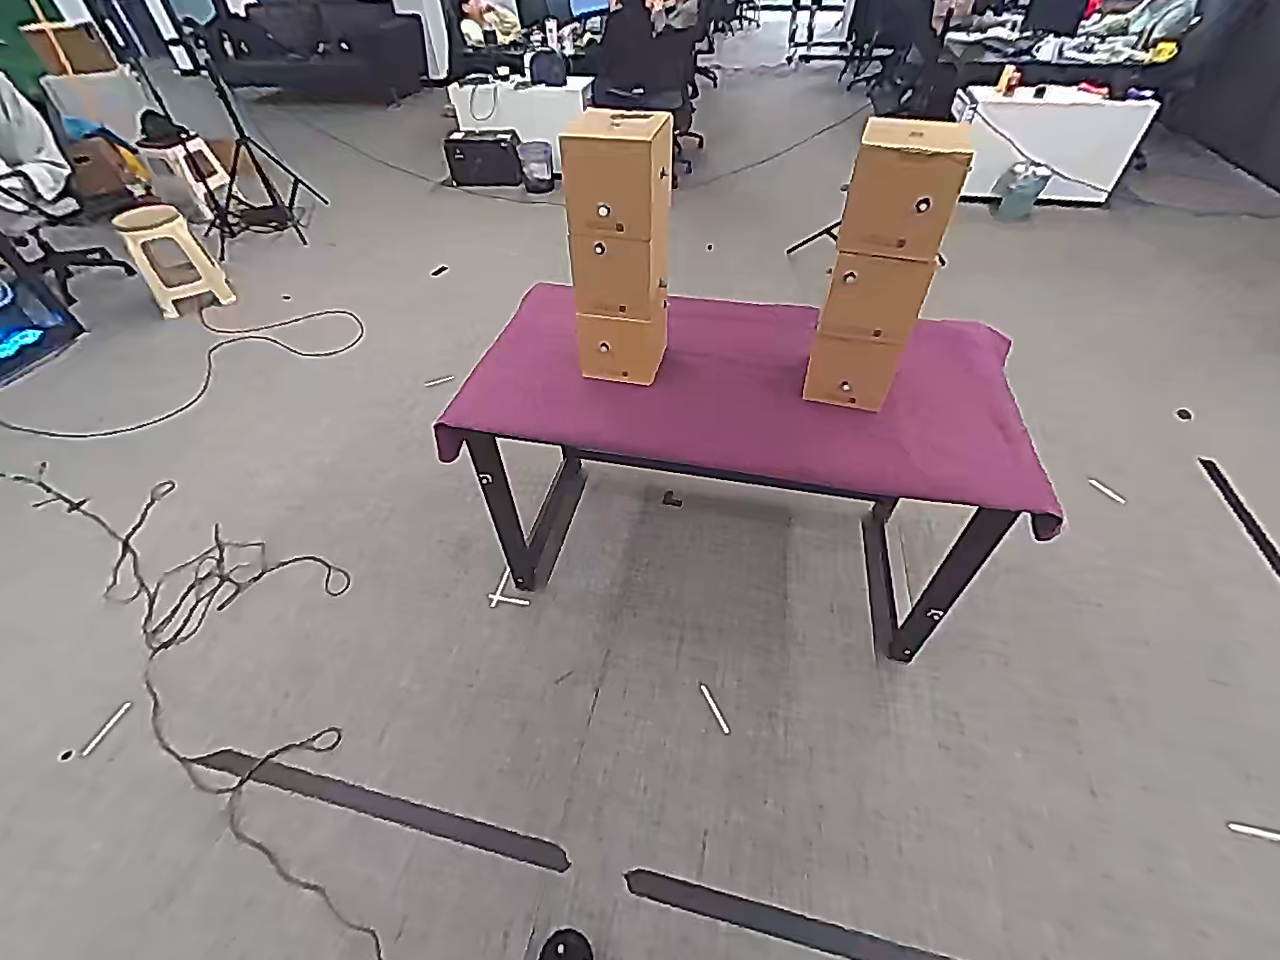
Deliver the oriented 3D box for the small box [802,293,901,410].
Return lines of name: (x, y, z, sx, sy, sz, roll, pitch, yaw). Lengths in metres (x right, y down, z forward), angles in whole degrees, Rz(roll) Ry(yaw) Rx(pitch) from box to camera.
small box: (0.455, -0.280, 1.174, 0.168, 0.176, 0.179, 12, 48, 14)

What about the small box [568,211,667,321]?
small box: (-0.042, -0.457, 1.134, 0.168, 0.176, 0.179, 8, 46, 10)

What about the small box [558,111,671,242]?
small box: (-0.041, -0.569, 1.013, 0.168, 0.176, 0.179, 9, 48, 10)

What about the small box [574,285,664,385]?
small box: (-0.039, -0.340, 1.249, 0.168, 0.176, 0.179, 9, 47, 10)

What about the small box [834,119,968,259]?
small box: (0.442, -0.501, 0.934, 0.168, 0.176, 0.179, 14, 47, 14)
